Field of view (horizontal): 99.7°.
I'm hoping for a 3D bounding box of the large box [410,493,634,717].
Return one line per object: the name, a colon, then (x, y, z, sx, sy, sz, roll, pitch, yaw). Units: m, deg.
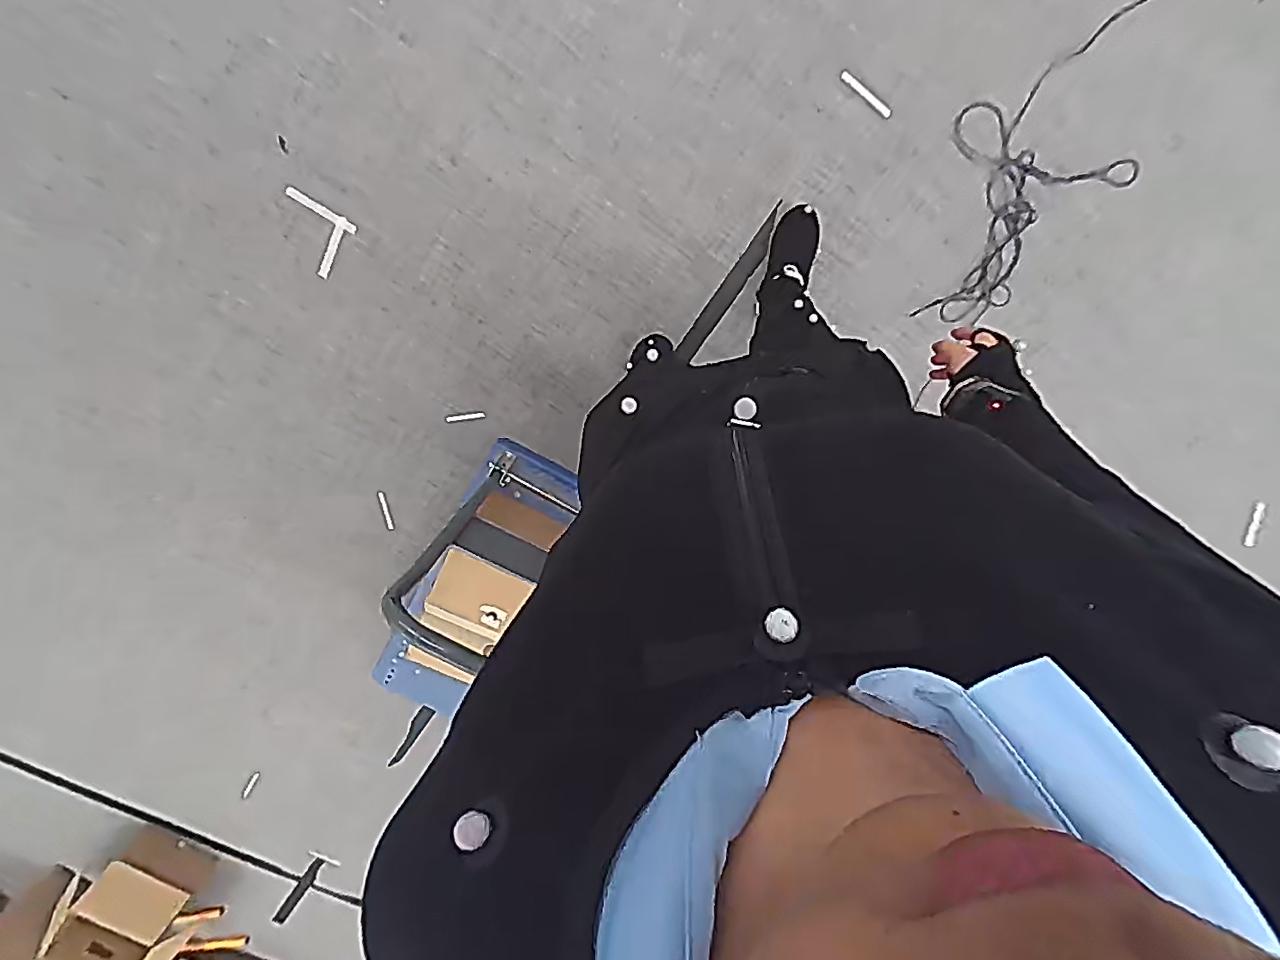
large box: (-0.261, 0.290, 1.311, 0.408, 0.320, 0.320, 26, 108, -7)
